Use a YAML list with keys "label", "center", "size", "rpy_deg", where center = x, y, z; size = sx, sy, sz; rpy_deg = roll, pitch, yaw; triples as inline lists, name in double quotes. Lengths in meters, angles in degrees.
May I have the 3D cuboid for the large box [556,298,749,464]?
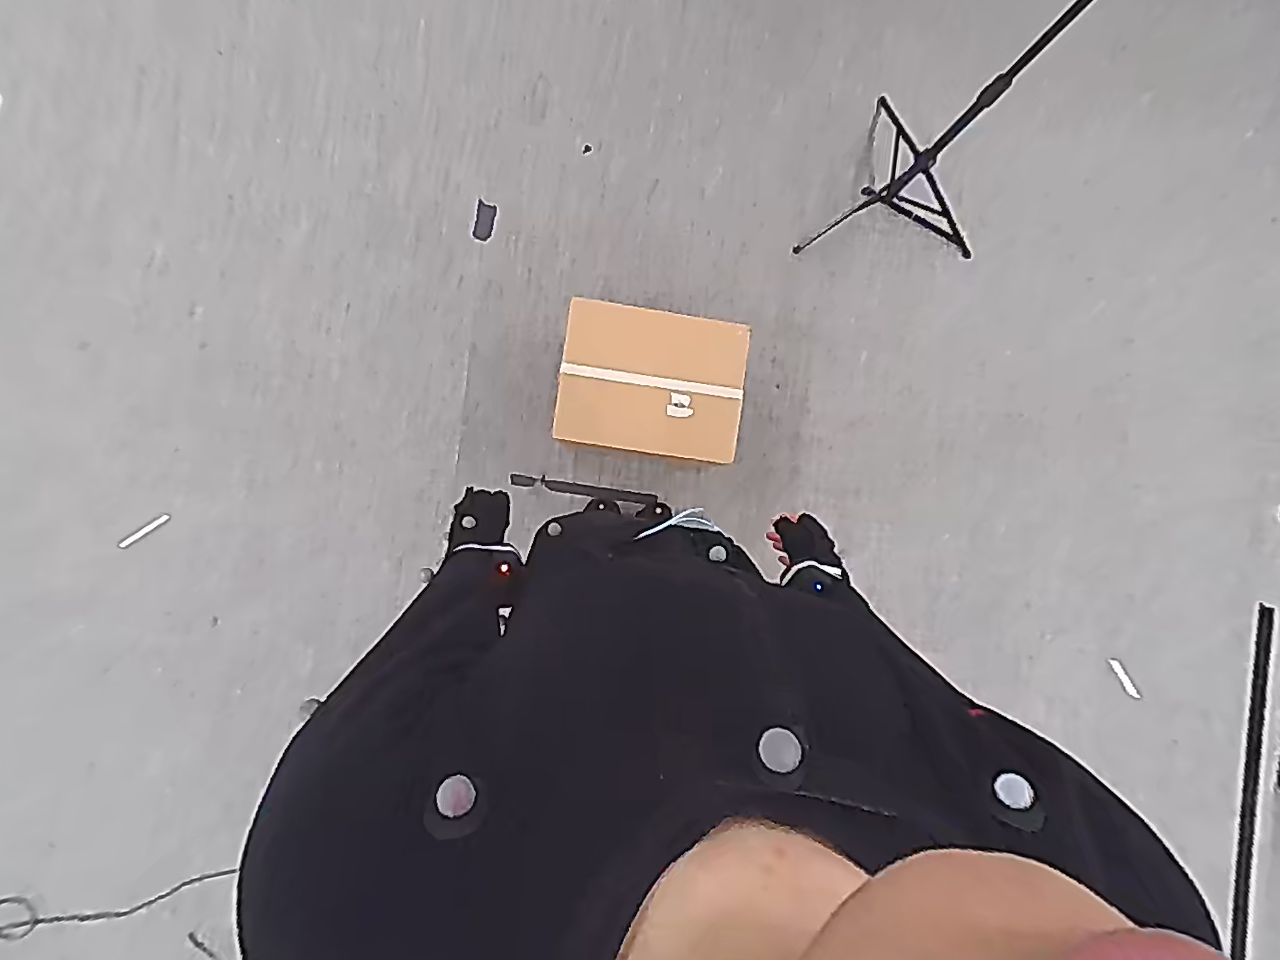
- label: "large box"
  center: [0.018, -0.221, 1.342]
  size: [0.408, 0.320, 0.320]
  rpy_deg: [9, 90, -4]
